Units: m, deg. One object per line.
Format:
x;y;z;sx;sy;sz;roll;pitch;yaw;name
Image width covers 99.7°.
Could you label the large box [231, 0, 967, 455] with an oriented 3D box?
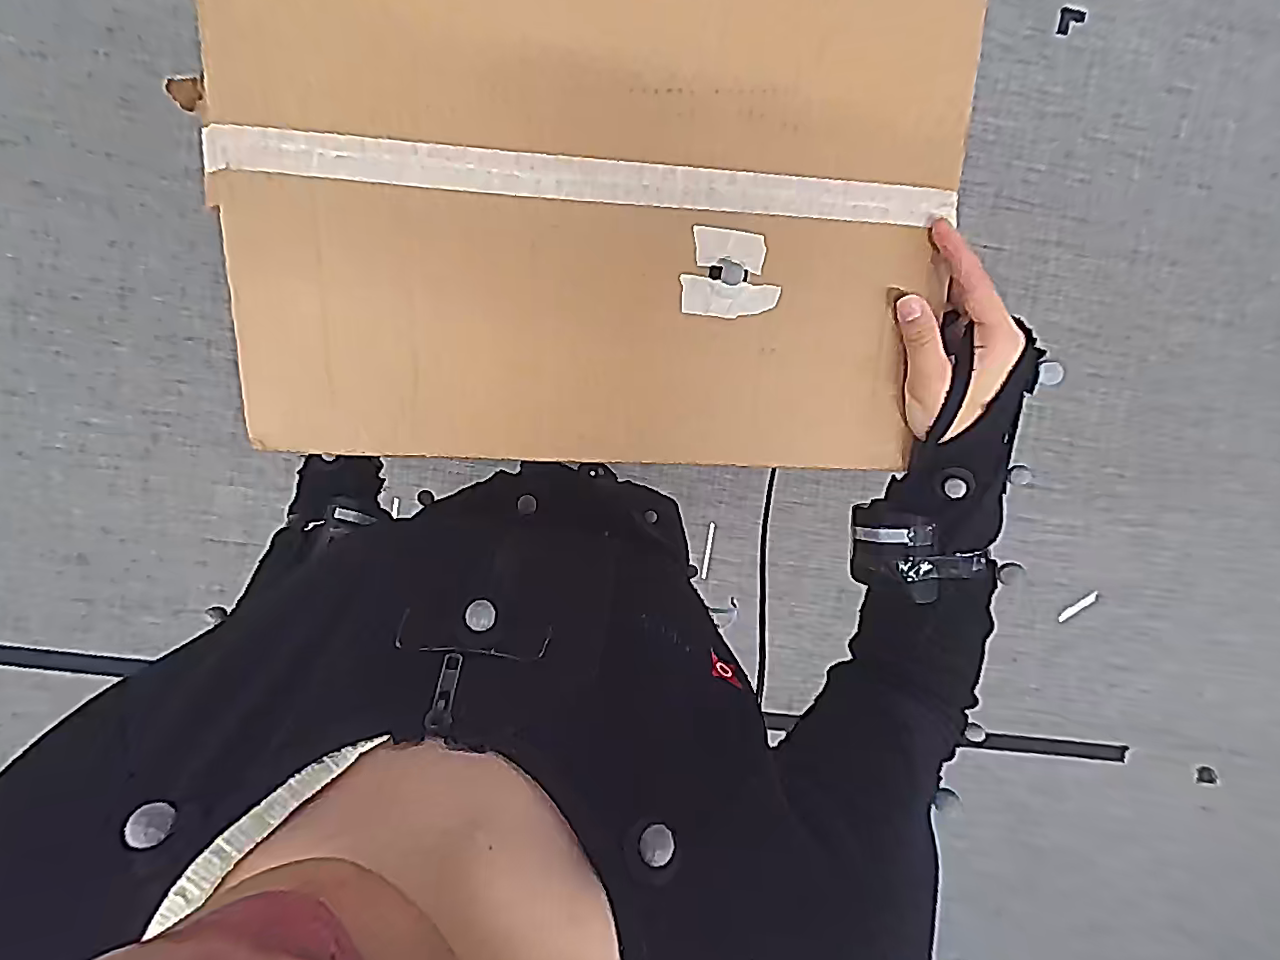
-0.031;-0.198;0.454;0.408;0.320;0.320;1;103;-8;large box
